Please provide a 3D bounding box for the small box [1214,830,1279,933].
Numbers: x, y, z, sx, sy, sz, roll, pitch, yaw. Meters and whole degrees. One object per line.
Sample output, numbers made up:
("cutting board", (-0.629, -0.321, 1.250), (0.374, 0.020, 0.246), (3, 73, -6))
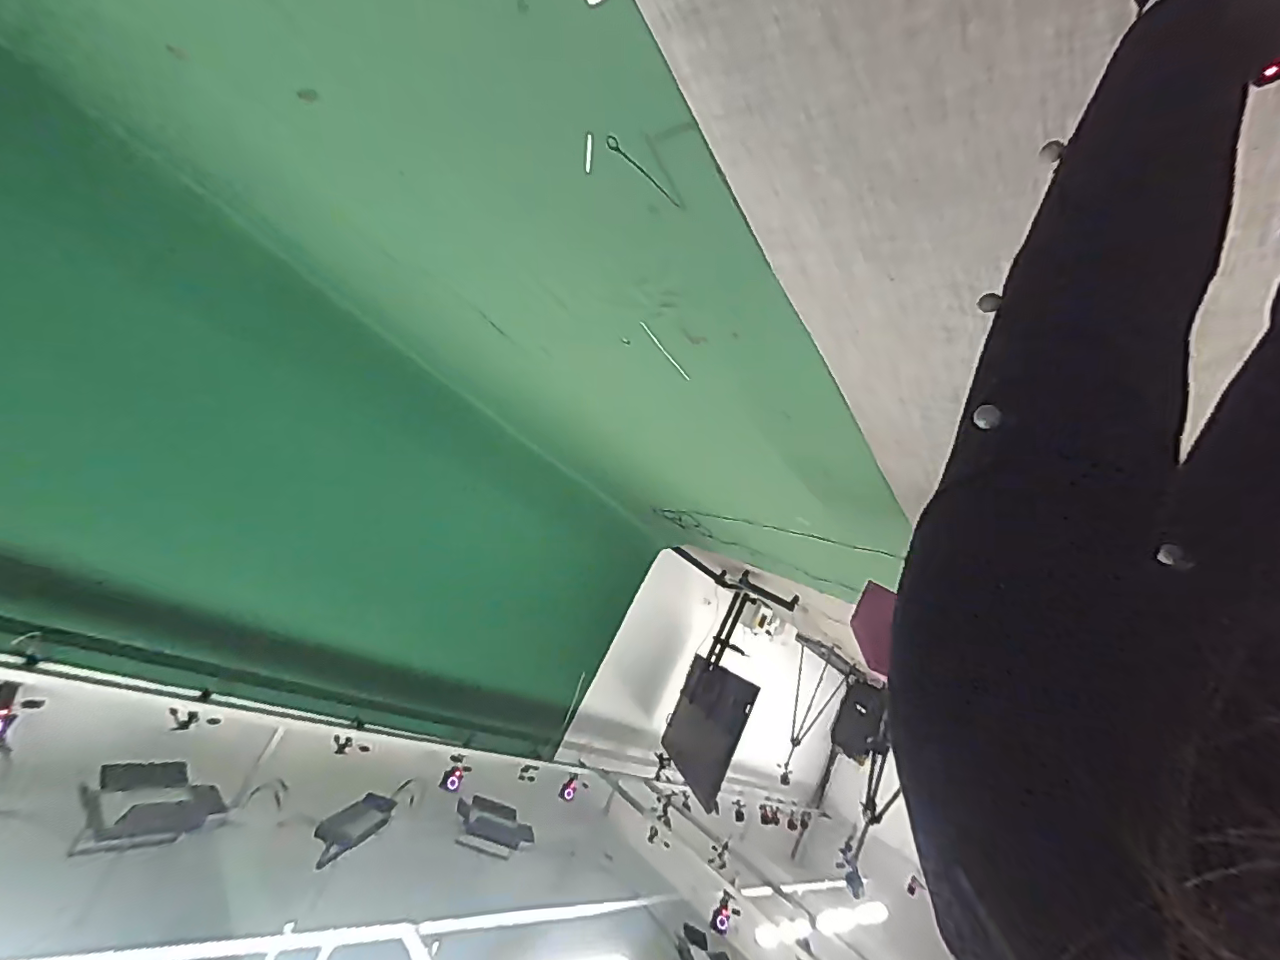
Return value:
("small box", (1.458, 0.933, 1.234), (0.168, 0.176, 0.179), (15, 161, 46))
